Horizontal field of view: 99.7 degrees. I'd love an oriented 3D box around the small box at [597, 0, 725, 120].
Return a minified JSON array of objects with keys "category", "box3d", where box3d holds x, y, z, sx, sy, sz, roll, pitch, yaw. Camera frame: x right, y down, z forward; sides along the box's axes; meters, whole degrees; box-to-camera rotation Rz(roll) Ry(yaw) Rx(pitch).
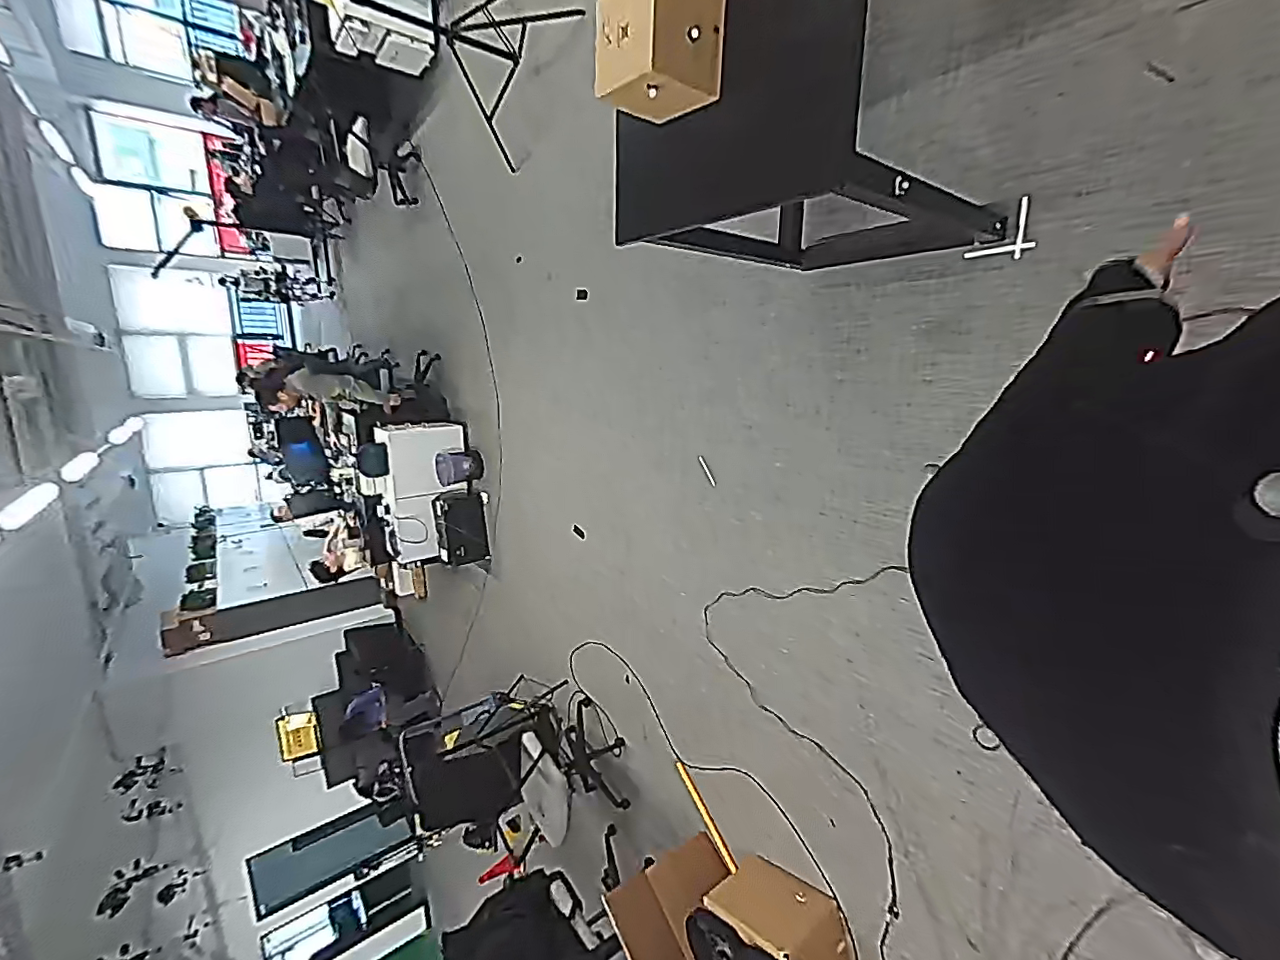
[{"category":"small box","box3d":[0.038,-0.799,1.000,0.179,0.176,0.168,21,113,50]}]
